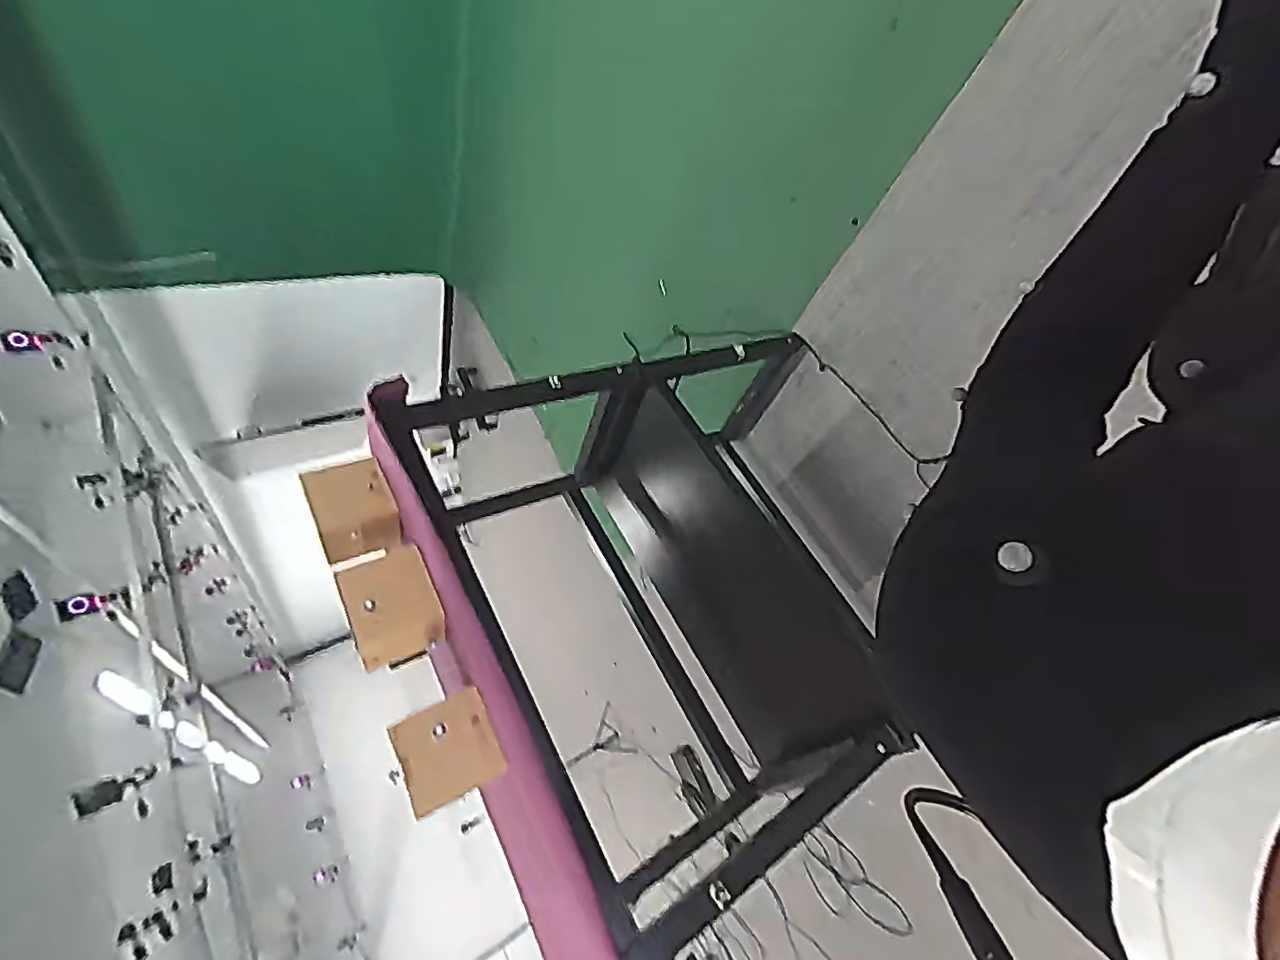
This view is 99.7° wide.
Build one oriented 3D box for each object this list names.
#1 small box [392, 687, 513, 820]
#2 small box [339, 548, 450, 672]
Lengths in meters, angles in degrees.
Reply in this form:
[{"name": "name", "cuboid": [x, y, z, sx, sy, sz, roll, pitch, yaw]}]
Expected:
[{"name": "small box", "cuboid": [-0.357, 0.515, 1.029, 0.168, 0.176, 0.179, 61, 148, 18]}, {"name": "small box", "cuboid": [-0.513, 0.272, 1.148, 0.179, 0.176, 0.168, 57, 146, 23]}]
